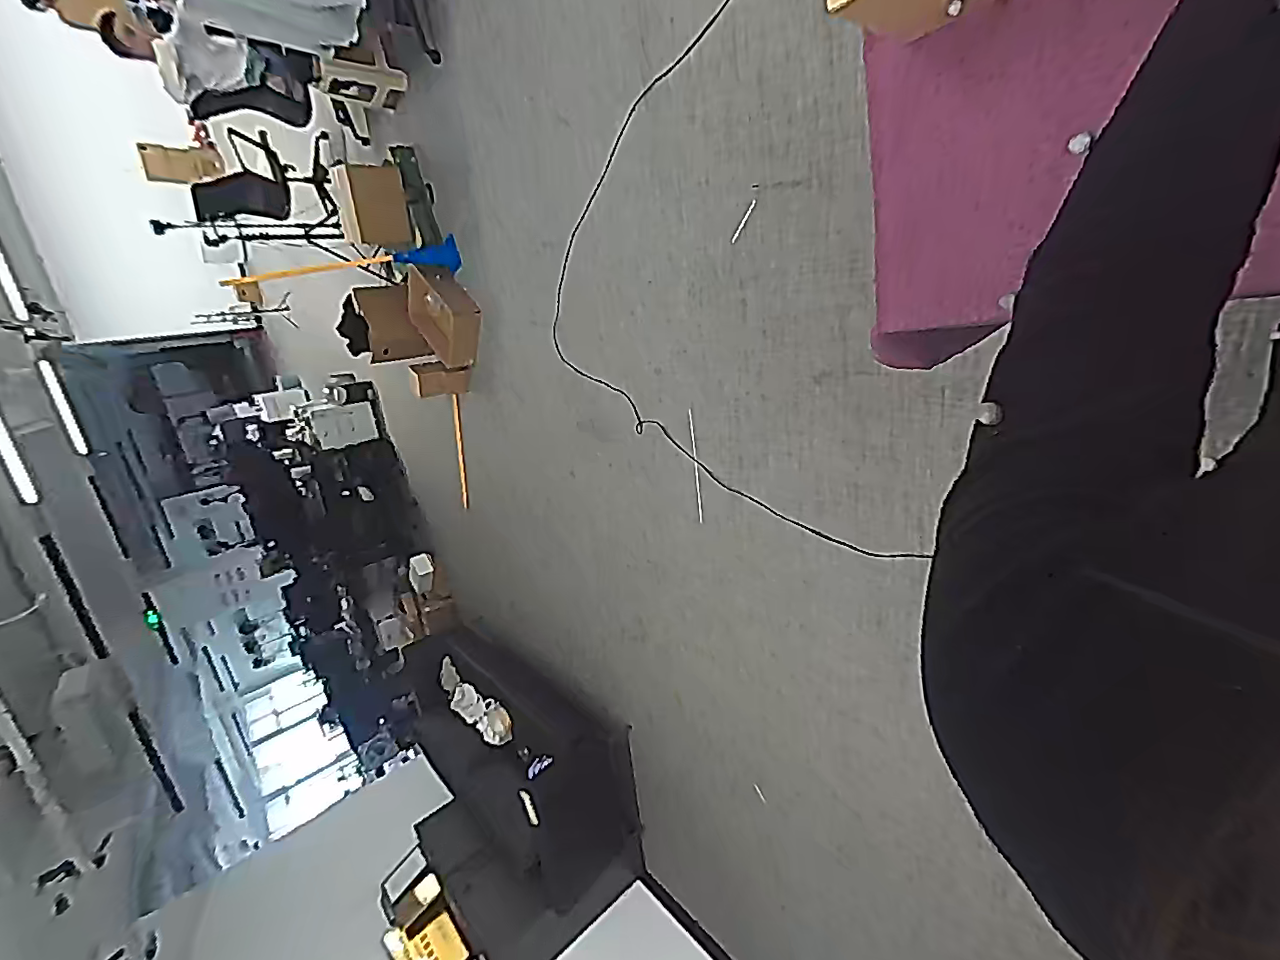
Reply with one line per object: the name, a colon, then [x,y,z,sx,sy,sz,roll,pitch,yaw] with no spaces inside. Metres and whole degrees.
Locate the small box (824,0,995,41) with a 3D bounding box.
small box: [0.292,-0.575,0.521,0.168,0.176,0.179,10,114,49]
